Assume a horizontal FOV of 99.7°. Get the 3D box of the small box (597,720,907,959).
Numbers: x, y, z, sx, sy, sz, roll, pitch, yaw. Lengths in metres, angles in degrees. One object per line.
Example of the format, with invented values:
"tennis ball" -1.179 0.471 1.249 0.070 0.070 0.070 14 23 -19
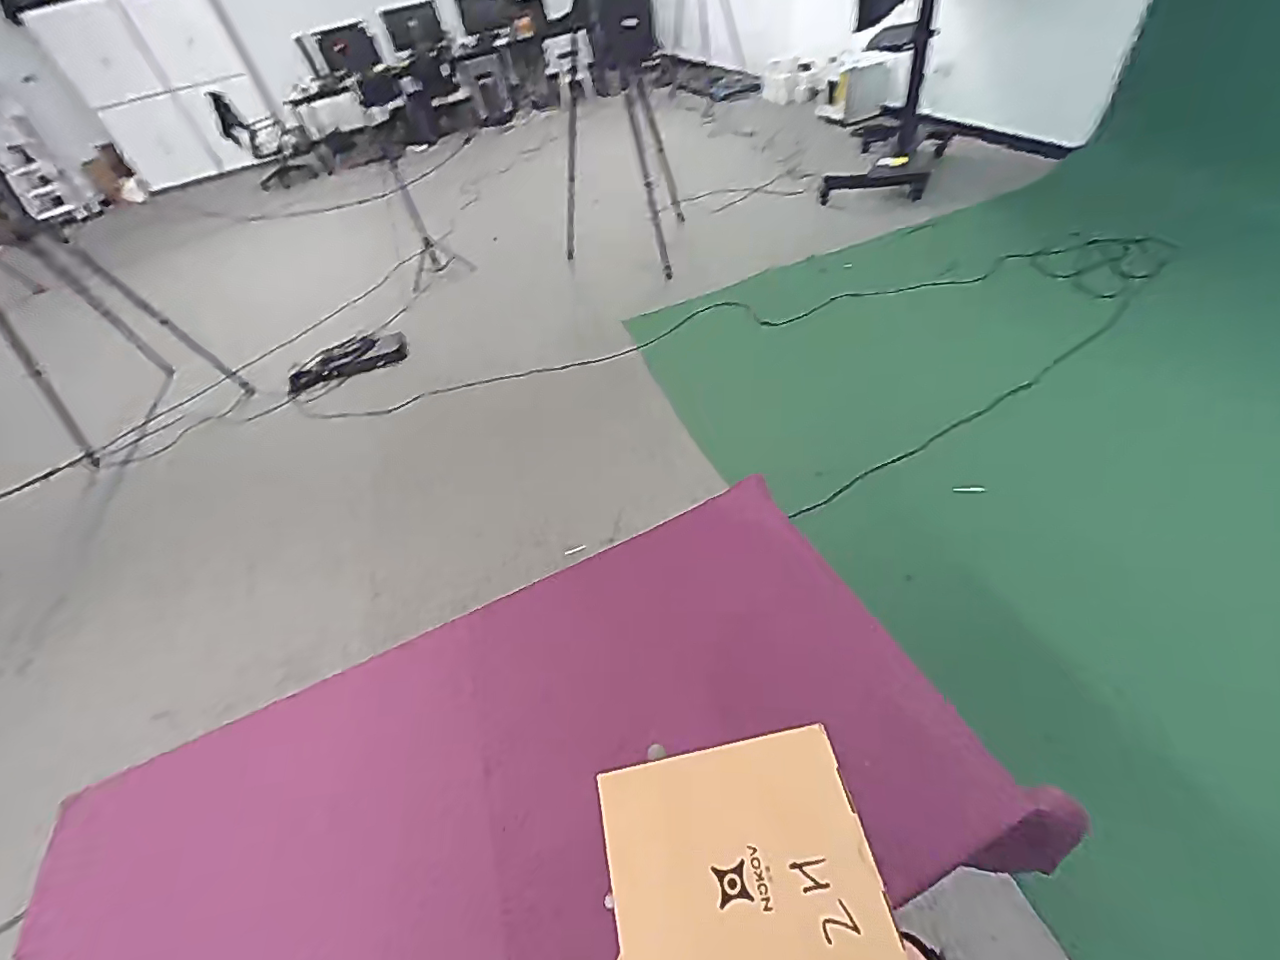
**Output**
"small box" 0.072 0.305 0.418 0.179 0.176 0.168 -11 55 -3
